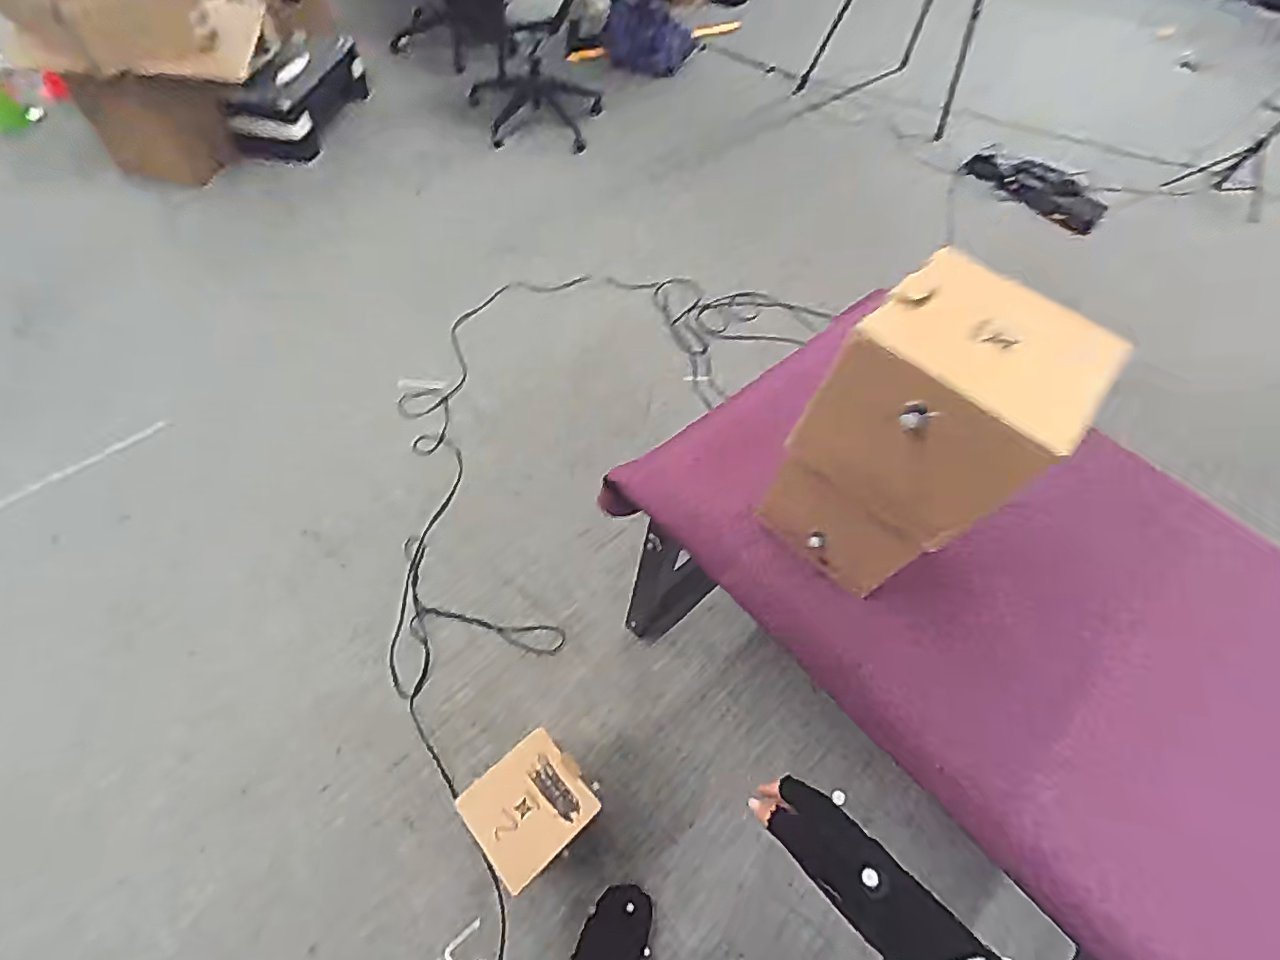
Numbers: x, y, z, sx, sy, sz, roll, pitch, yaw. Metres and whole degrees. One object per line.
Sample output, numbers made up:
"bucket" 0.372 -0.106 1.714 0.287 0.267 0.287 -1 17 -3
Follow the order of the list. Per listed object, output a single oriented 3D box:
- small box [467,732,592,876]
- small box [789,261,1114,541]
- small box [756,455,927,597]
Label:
"small box" -0.215 0.636 1.075 0.179 0.176 0.168 -35 68 -23
"small box" 0.276 -0.064 0.515 0.179 0.176 0.168 40 62 17
"small box" 0.267 0.009 0.662 0.168 0.176 0.179 40 61 17
